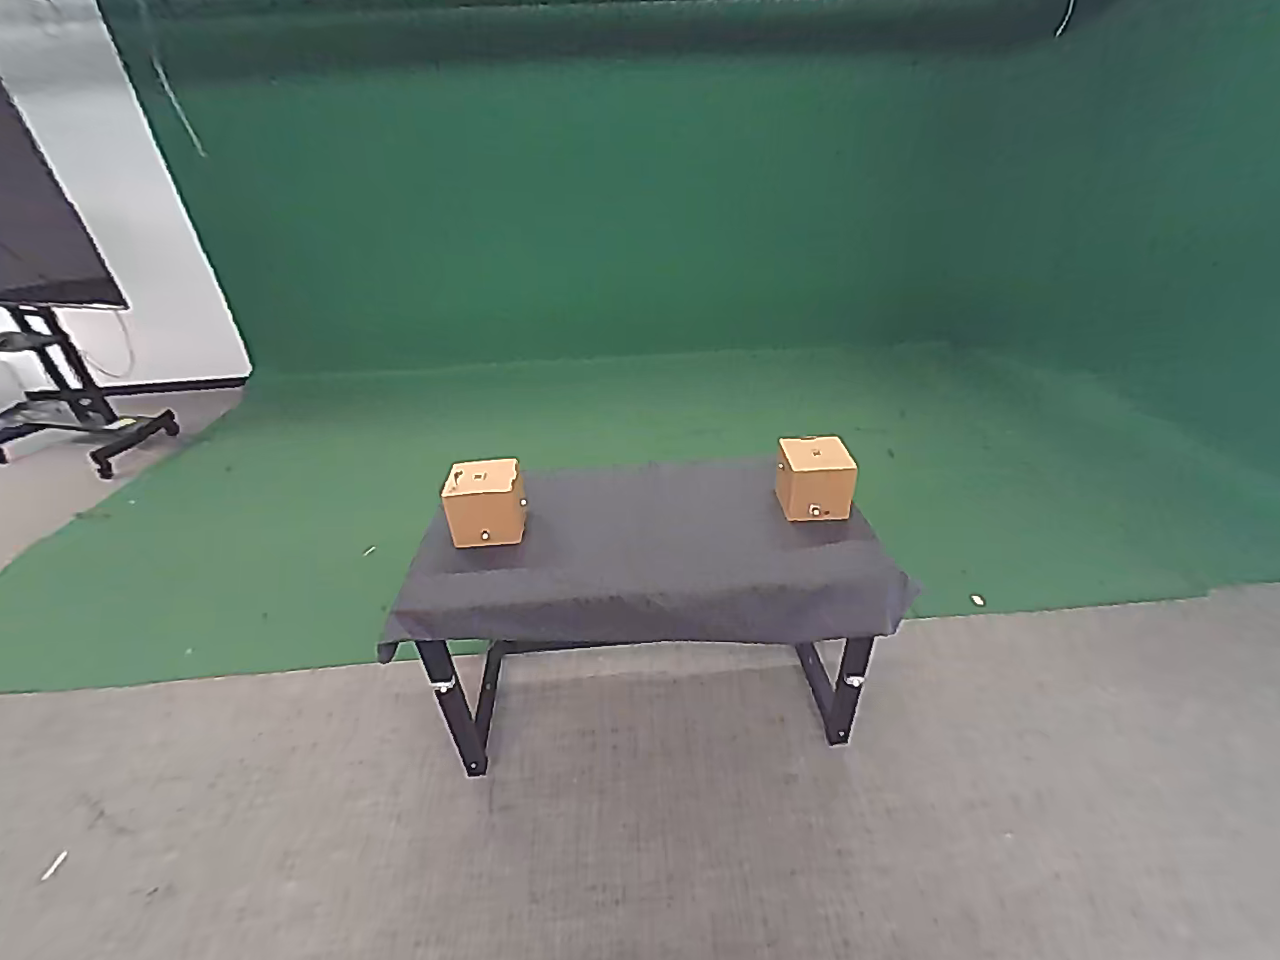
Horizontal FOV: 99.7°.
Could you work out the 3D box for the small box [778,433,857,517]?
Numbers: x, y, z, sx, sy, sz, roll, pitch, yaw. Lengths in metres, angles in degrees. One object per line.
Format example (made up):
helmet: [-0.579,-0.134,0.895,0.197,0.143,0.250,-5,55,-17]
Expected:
small box: [0.478,-0.014,1.483,0.168,0.176,0.179,-3,33,5]

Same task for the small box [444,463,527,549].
small box: [-0.406,0.070,1.459,0.179,0.176,0.168,-4,32,-3]
